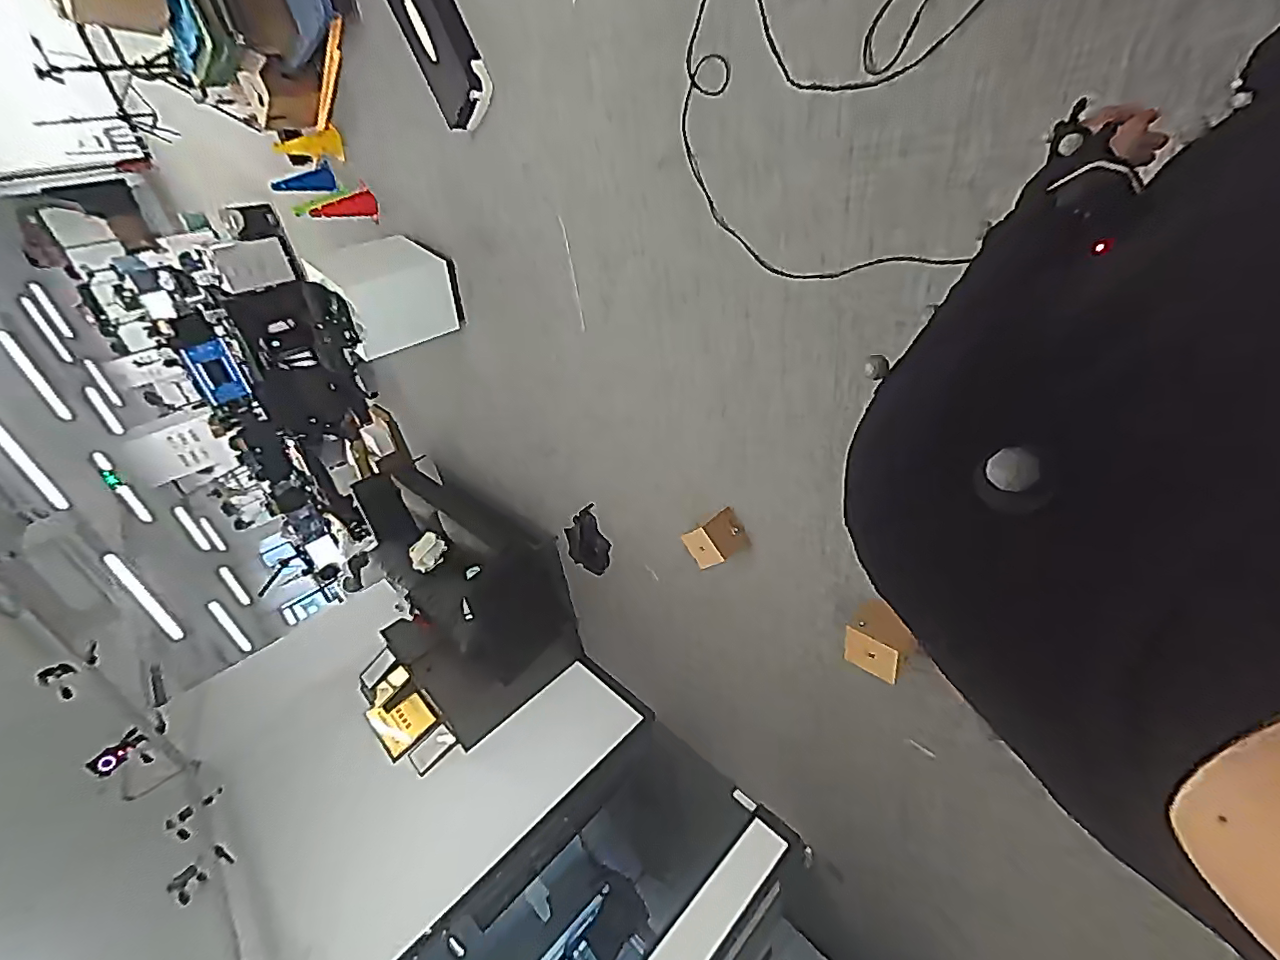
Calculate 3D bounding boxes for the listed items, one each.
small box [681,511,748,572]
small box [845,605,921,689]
[{"bbox_3d":[0.309,0.253,2.220,0.168,0.176,0.179,55,147,2],"label":"small box"},{"bbox_3d":[0.804,0.545,1.793,0.179,0.176,0.168,23,134,43],"label":"small box"}]
